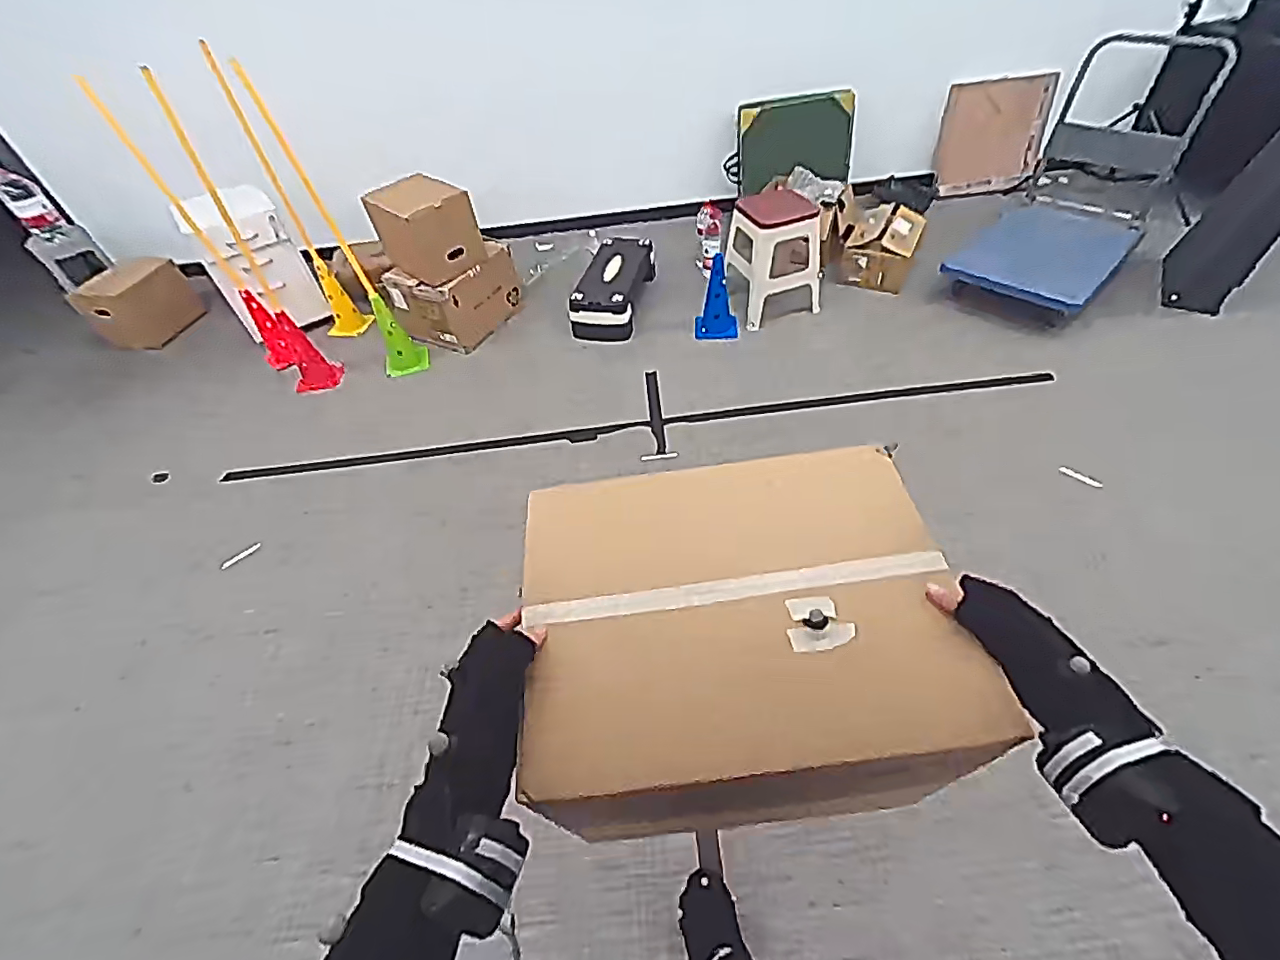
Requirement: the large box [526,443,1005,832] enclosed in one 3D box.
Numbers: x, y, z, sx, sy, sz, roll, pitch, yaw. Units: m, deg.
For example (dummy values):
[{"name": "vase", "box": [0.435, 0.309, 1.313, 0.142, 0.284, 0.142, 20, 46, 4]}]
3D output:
[{"name": "large box", "box": [0.100, 0.196, 0.645, 0.408, 0.320, 0.320, -8, 51, 1]}]
